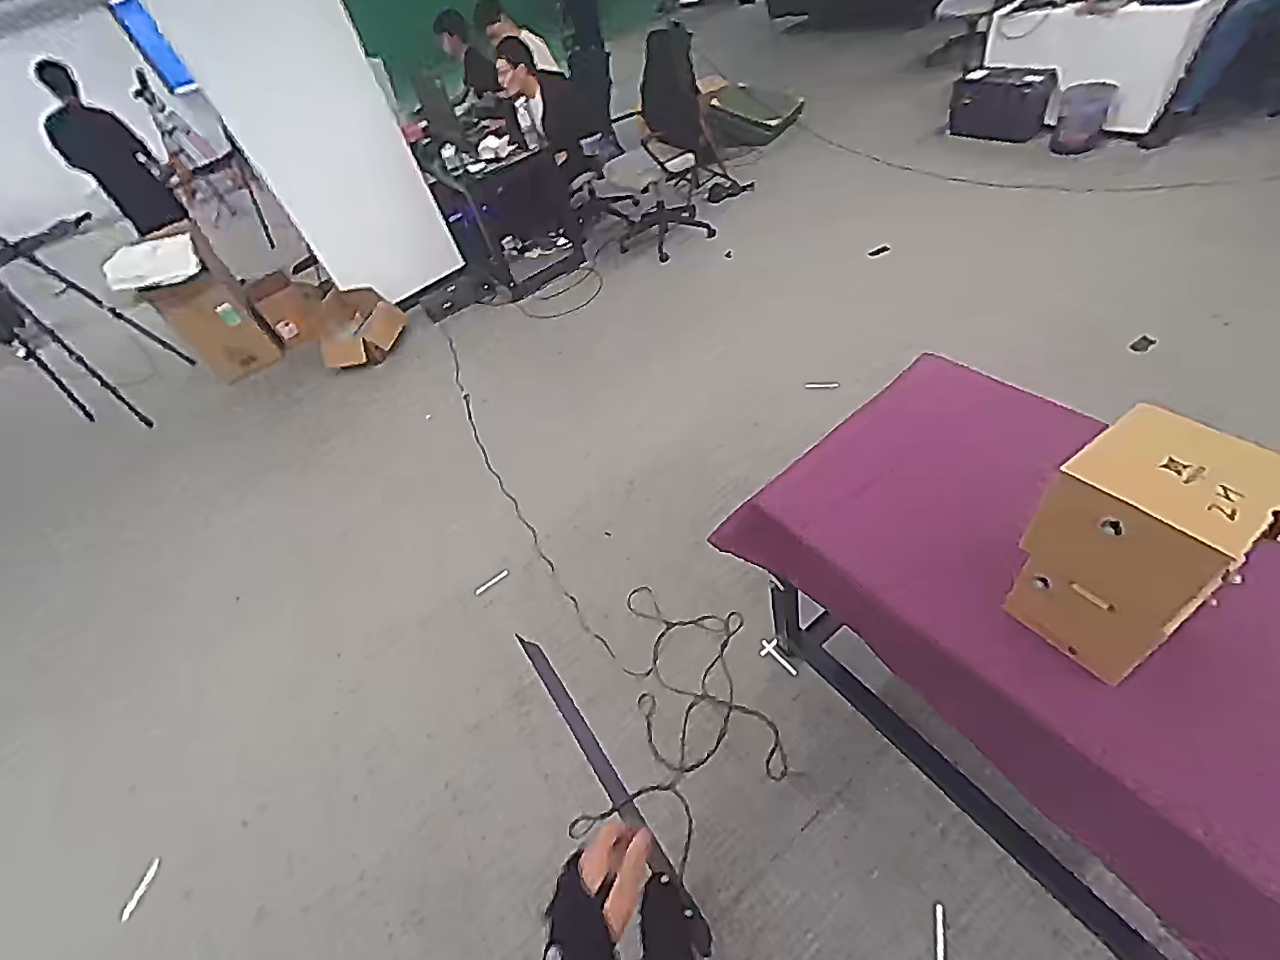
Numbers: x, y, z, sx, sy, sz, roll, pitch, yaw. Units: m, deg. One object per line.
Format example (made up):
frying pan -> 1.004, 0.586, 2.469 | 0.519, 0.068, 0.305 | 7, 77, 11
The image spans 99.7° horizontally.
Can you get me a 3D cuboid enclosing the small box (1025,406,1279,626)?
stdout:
small box -> 0.630, 0.045, 0.673 | 0.168, 0.176, 0.179 | -33, 48, -13
